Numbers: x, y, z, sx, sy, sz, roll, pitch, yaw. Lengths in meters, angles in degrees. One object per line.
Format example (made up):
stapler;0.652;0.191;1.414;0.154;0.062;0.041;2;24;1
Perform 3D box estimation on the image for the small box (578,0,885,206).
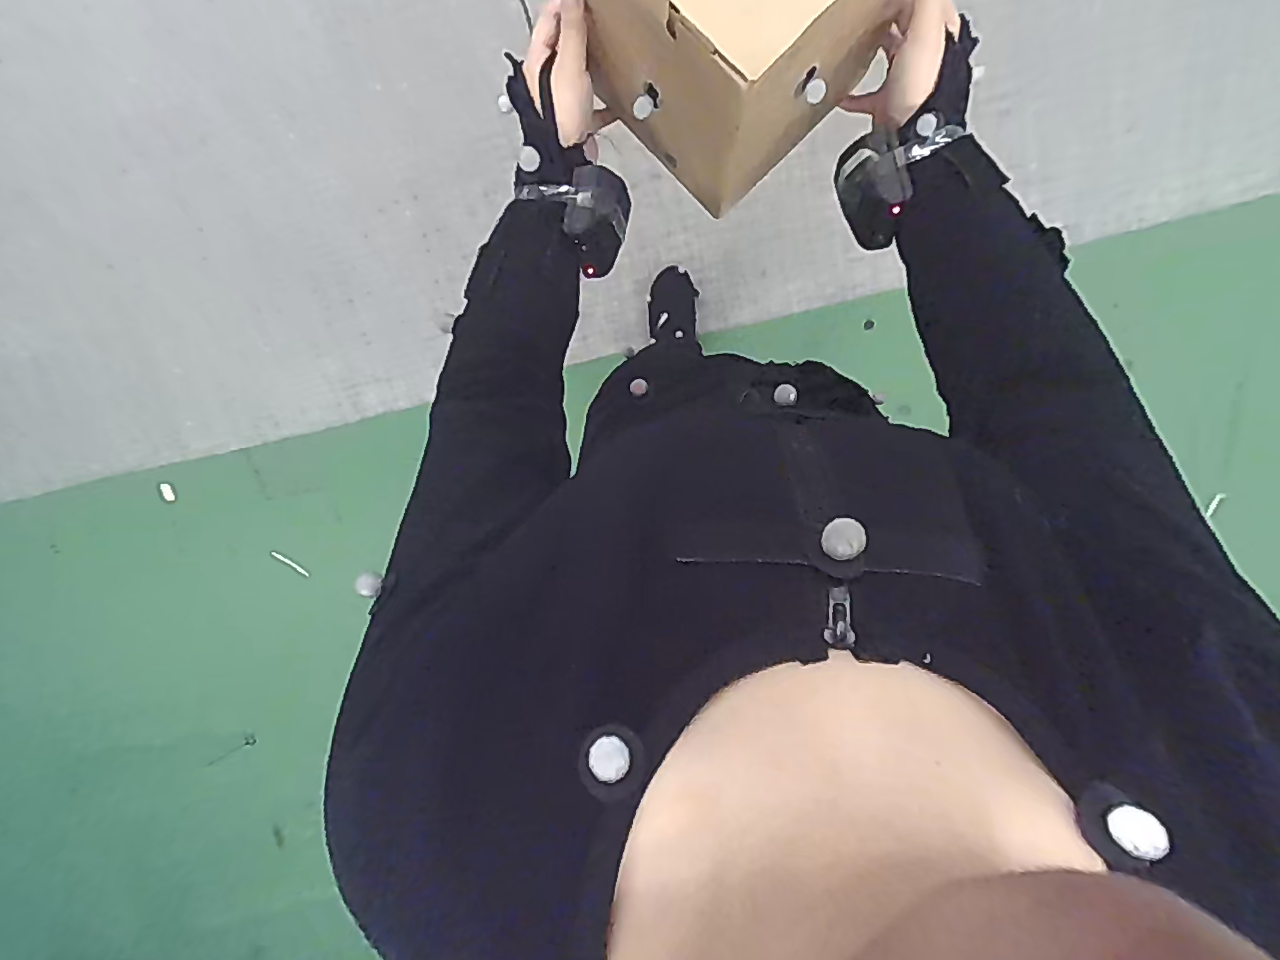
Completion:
small box;0.069;-0.349;0.398;0.179;0.176;0.168;-44;89;3
